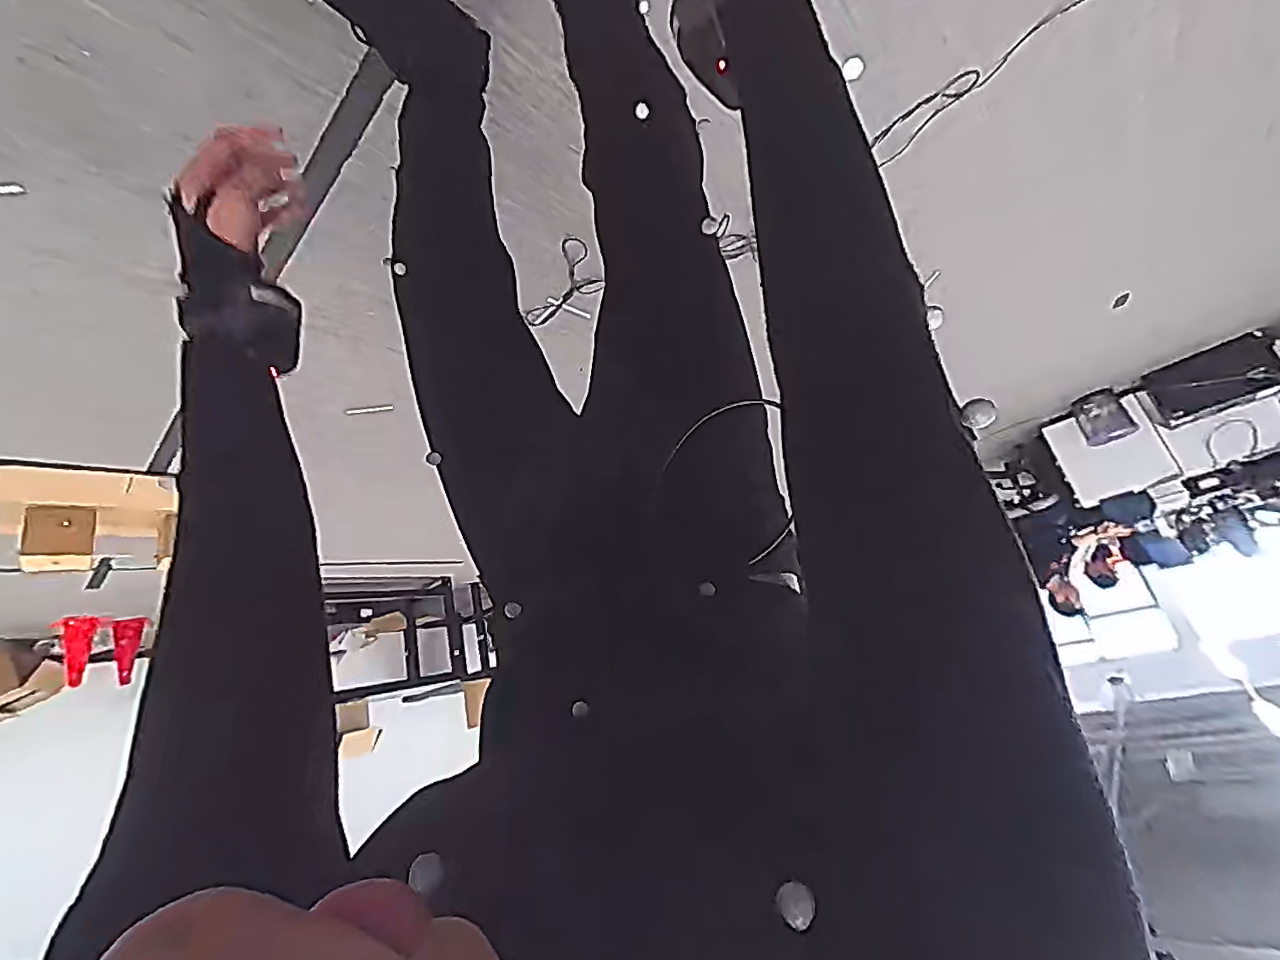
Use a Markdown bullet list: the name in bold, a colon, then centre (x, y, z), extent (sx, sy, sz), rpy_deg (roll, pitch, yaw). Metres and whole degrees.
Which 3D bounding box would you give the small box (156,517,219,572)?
- **small box**: centre (-1.764, 0.252, 2.109), extent (0.179, 0.176, 0.168), rpy_deg (-29, 156, 37)

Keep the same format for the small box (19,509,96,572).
- **small box**: centre (-1.996, 0.211, 1.858), extent (0.168, 0.176, 0.179), rpy_deg (6, 153, -44)
